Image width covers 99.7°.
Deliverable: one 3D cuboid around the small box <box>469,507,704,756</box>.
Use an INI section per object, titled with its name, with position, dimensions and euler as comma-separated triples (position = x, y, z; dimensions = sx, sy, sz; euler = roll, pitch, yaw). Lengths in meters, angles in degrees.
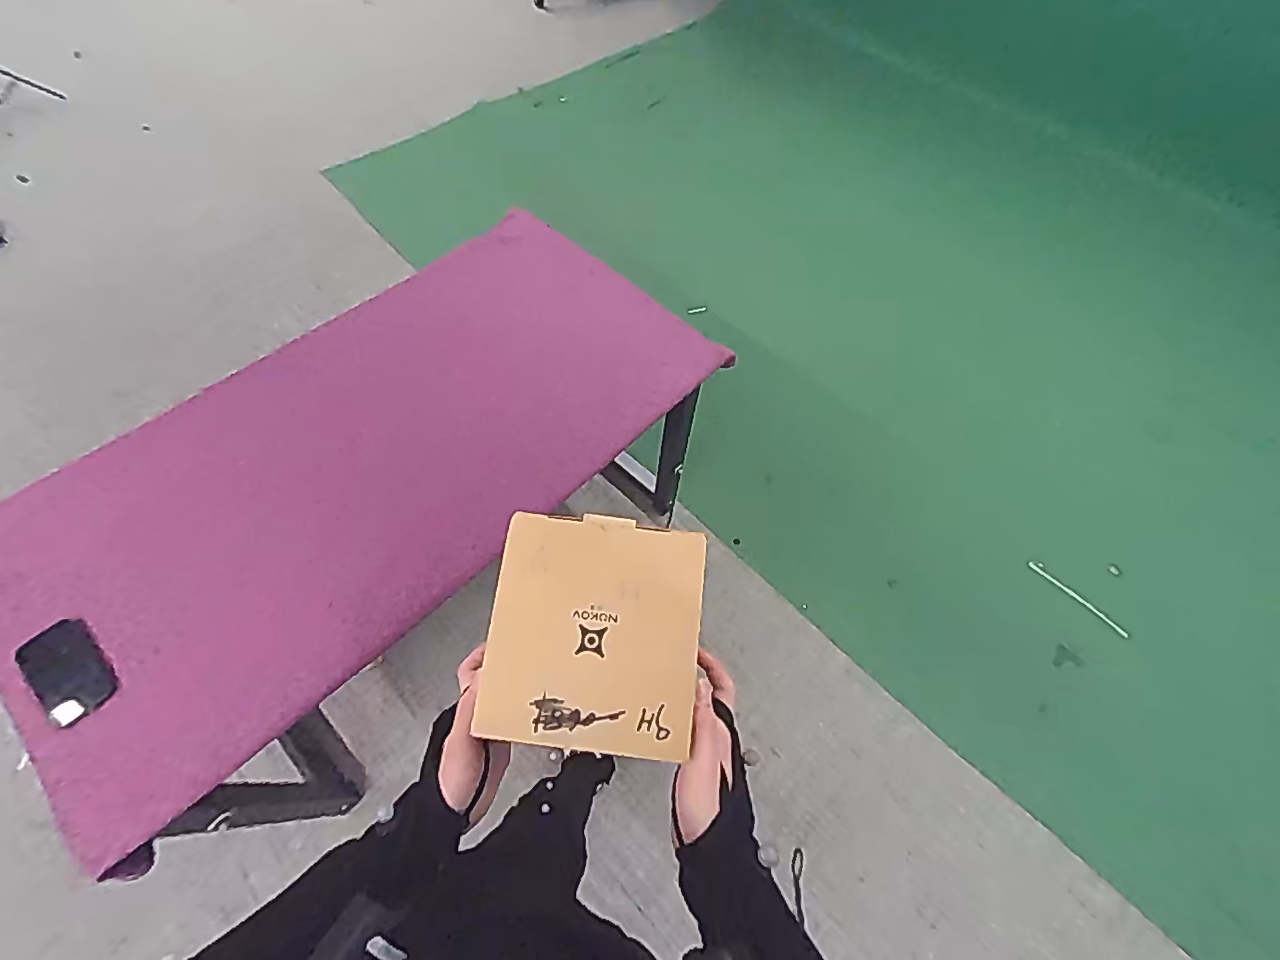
[small box]
position = -0.037, 0.139, 0.501
dimensions = 0.168, 0.176, 0.179
euler = 6, 71, 4
